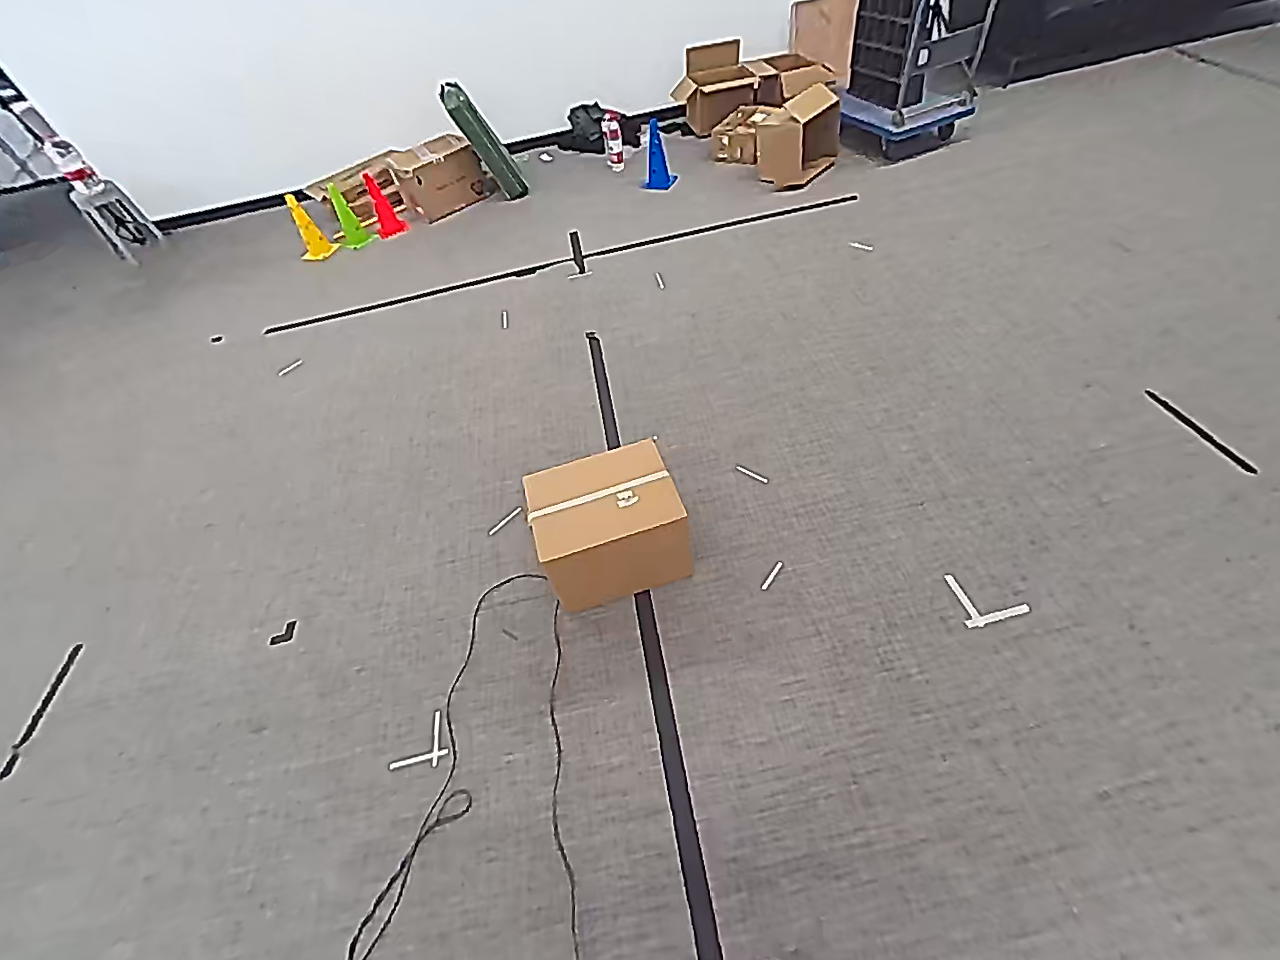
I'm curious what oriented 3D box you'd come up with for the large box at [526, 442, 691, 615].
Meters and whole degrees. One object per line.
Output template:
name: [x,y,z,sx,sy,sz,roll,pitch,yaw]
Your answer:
large box: [-0.088,0.147,1.608,0.408,0.320,0.320,-16,50,-6]
